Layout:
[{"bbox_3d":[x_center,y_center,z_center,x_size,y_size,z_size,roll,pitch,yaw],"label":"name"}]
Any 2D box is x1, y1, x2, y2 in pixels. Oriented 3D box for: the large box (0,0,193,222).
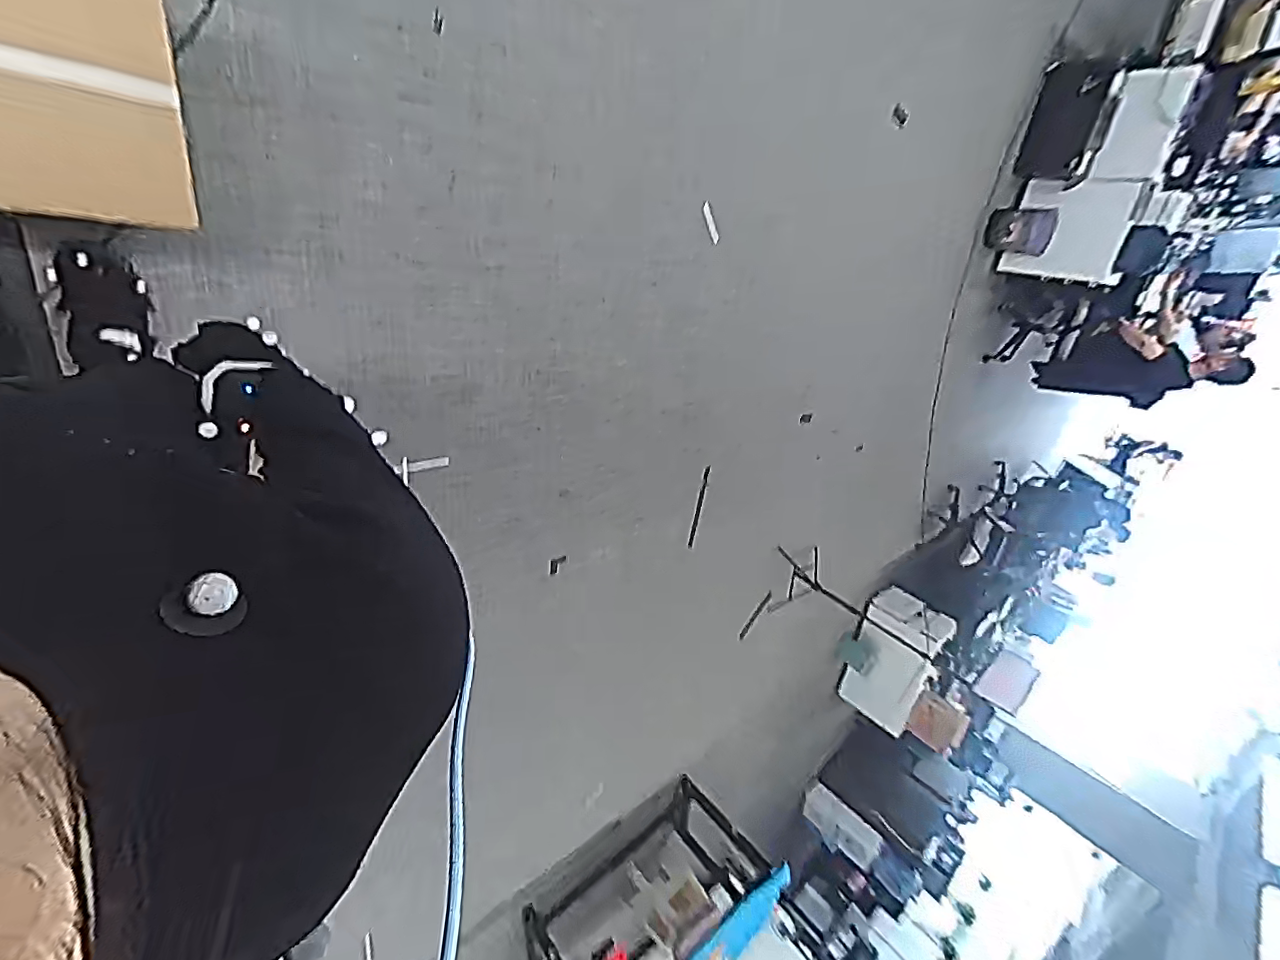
[{"bbox_3d":[-0.852,-0.524,0.671,0.408,0.320,0.320,-12,122,-40],"label":"large box"}]
